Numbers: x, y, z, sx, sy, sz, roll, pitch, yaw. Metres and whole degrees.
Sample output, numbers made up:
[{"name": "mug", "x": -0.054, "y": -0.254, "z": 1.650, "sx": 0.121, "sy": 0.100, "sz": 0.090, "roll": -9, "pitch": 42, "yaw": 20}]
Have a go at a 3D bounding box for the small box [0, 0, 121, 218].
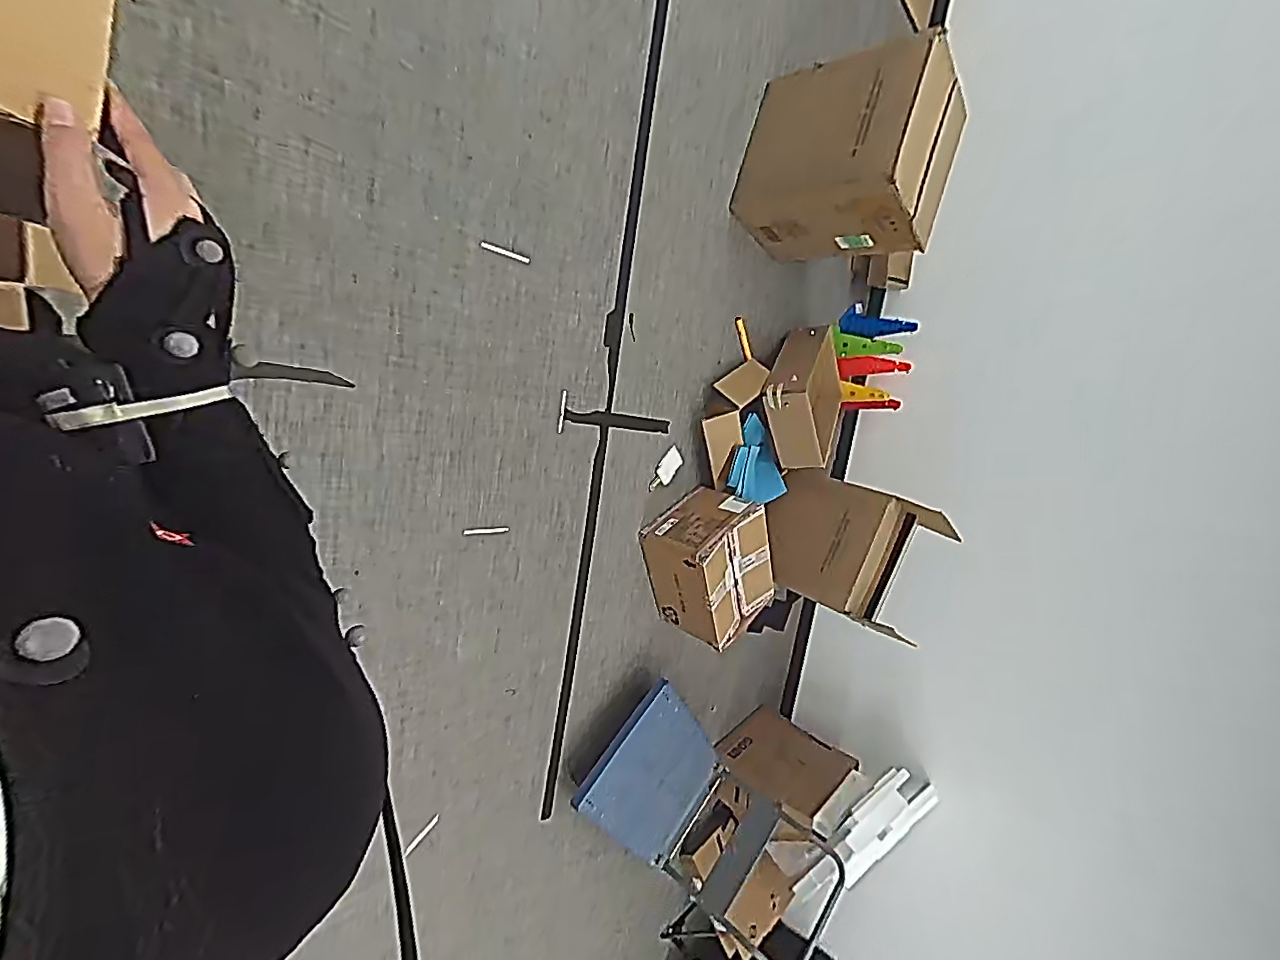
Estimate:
[{"name": "small box", "x": -0.407, "y": -0.278, "z": 0.290, "sx": 0.168, "sy": 0.176, "sz": 0.179, "roll": 8, "pitch": 85, "yaw": -52}]
